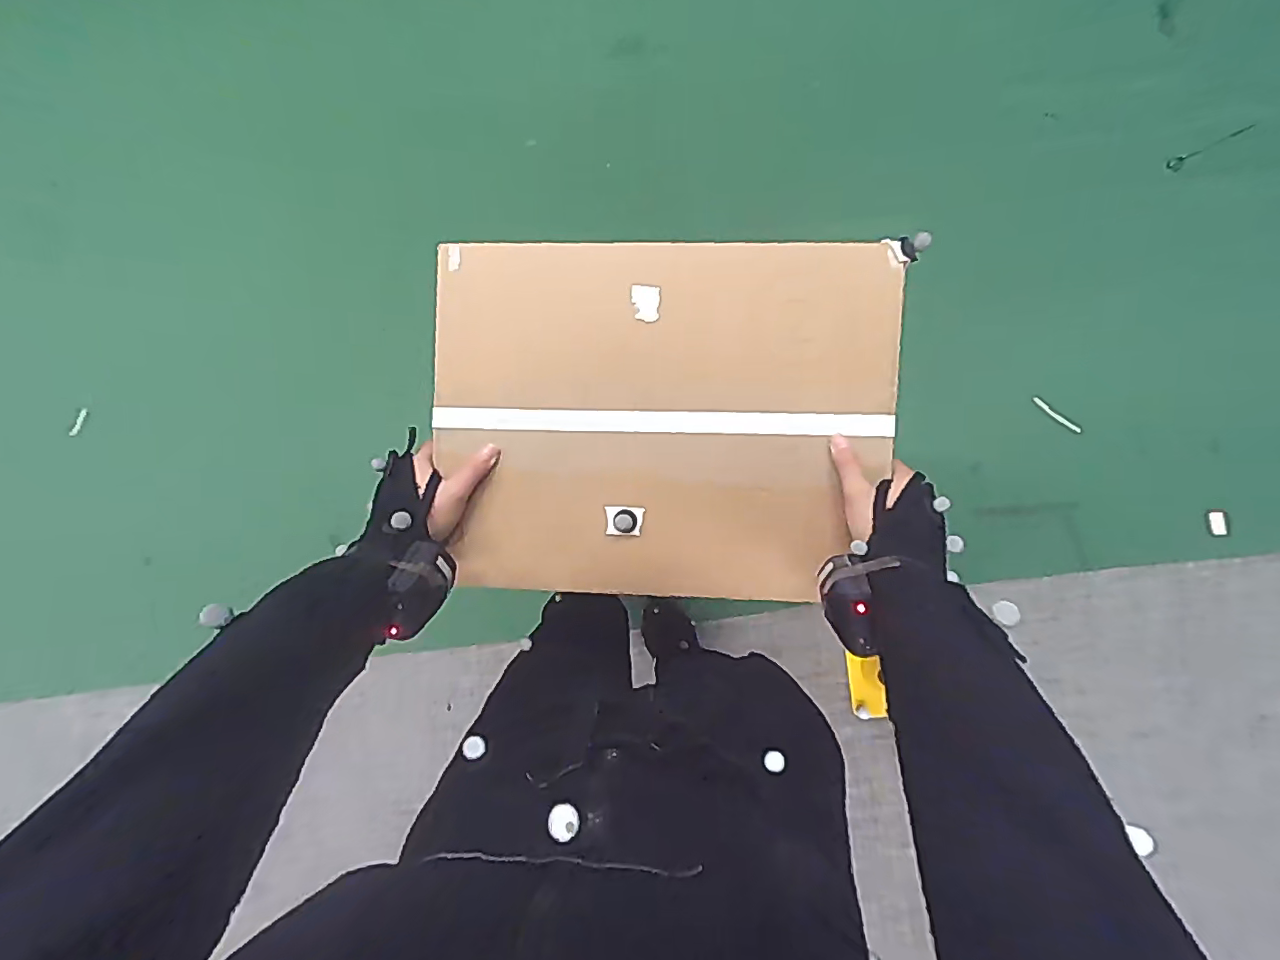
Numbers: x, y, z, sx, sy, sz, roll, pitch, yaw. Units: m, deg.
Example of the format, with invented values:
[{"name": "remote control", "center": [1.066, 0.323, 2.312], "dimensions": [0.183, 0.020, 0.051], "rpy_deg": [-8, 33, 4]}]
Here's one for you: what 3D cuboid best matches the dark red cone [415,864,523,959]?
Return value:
[{"name": "dark red cone", "center": [-0.364, 0.874, 0.944], "dimensions": [0.202, 0.394, 0.201], "rpy_deg": [-16, 77, 4]}]
